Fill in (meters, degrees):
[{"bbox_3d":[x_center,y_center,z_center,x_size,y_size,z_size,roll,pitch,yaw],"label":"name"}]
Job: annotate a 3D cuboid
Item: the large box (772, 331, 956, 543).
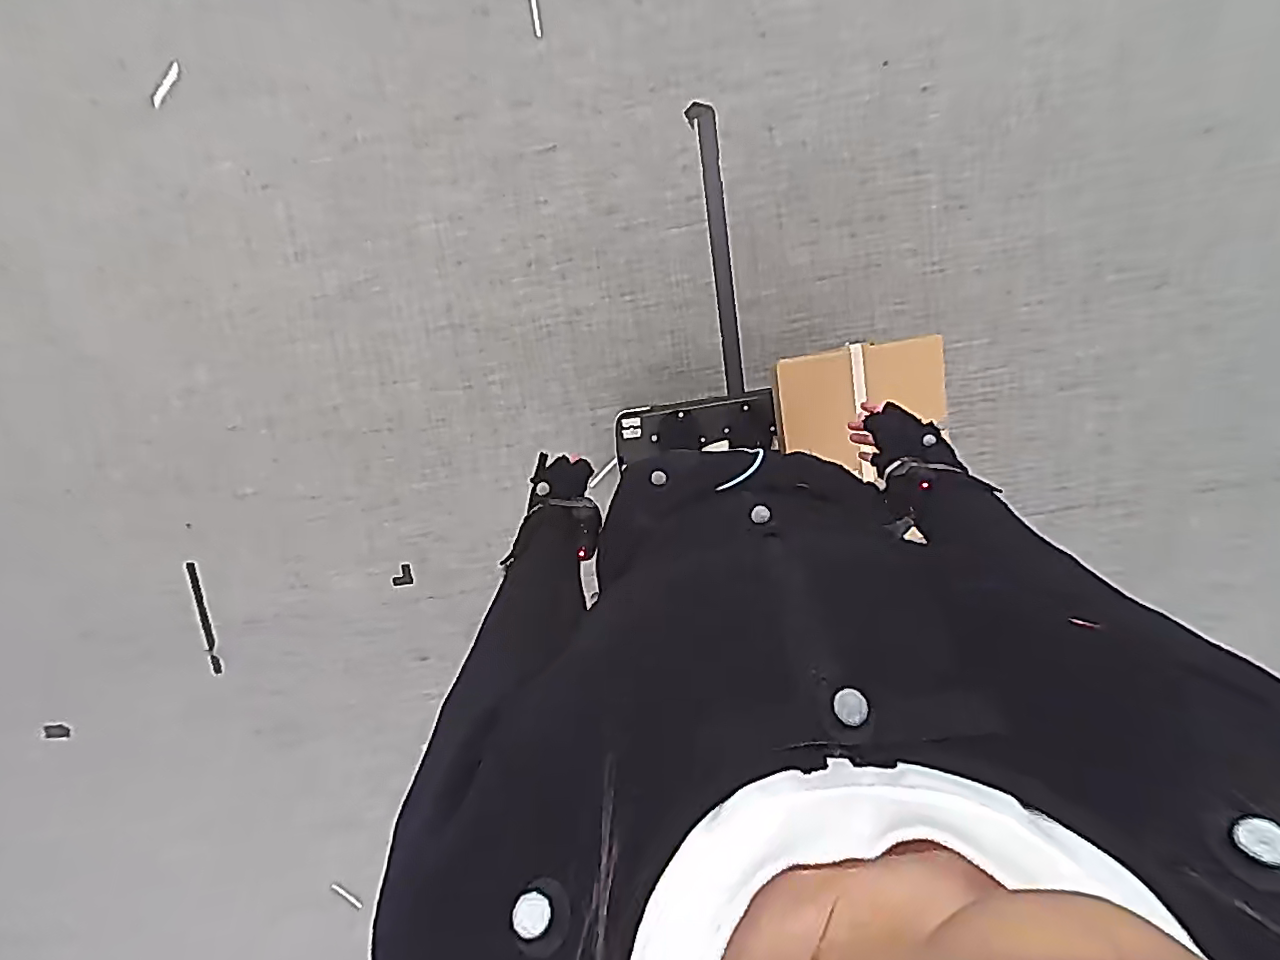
[{"bbox_3d":[0.492,-0.107,1.244,0.320,0.320,0.408,-7,101,13],"label":"large box"}]
